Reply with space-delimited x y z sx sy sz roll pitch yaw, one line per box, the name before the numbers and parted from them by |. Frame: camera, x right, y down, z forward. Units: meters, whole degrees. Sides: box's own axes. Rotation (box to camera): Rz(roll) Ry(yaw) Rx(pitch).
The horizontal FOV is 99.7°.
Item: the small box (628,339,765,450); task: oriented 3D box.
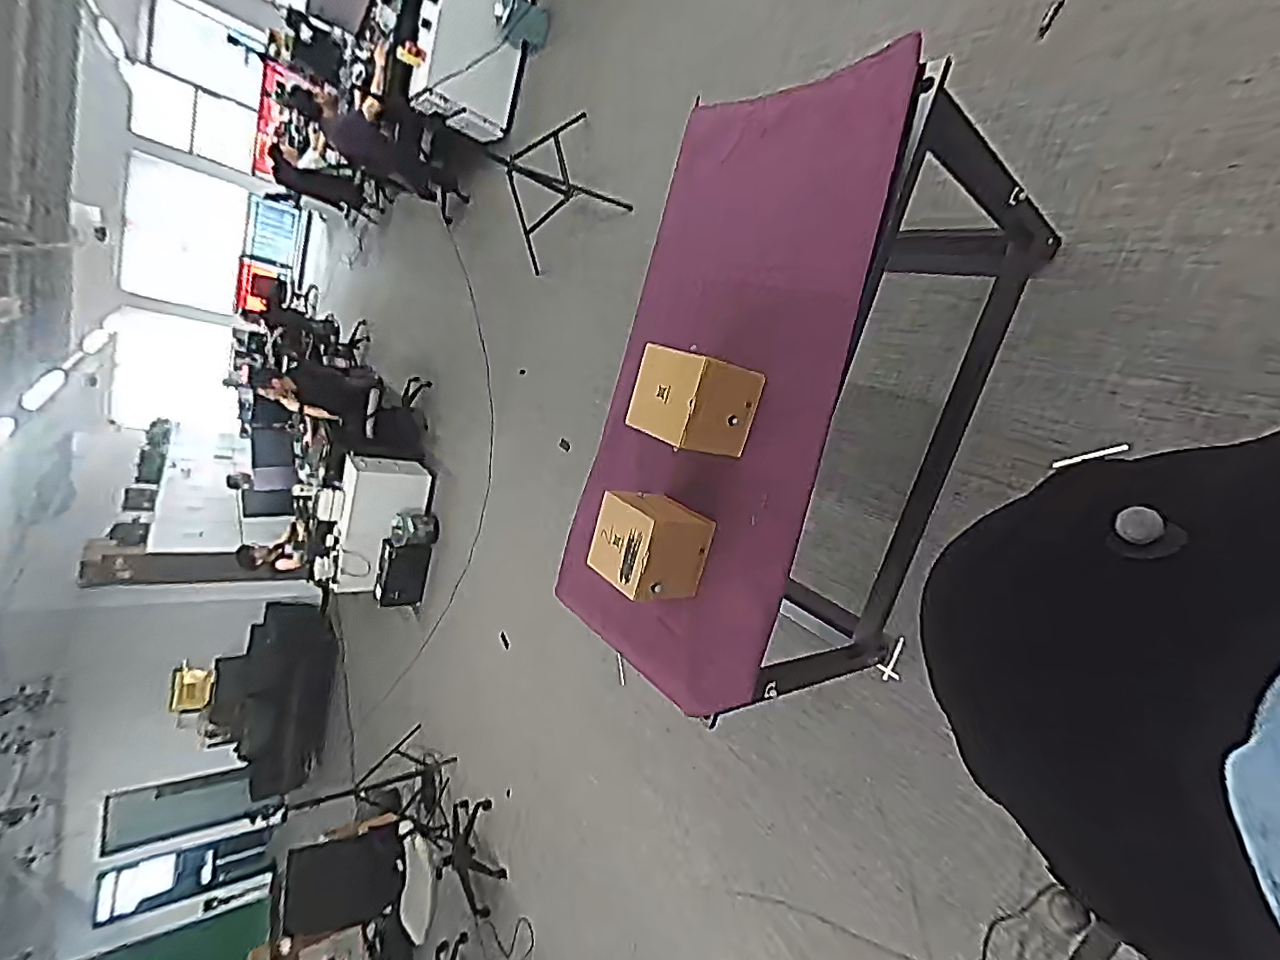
small box | 0.108 -0.164 1.056 0.179 0.176 0.168 30 108 48
